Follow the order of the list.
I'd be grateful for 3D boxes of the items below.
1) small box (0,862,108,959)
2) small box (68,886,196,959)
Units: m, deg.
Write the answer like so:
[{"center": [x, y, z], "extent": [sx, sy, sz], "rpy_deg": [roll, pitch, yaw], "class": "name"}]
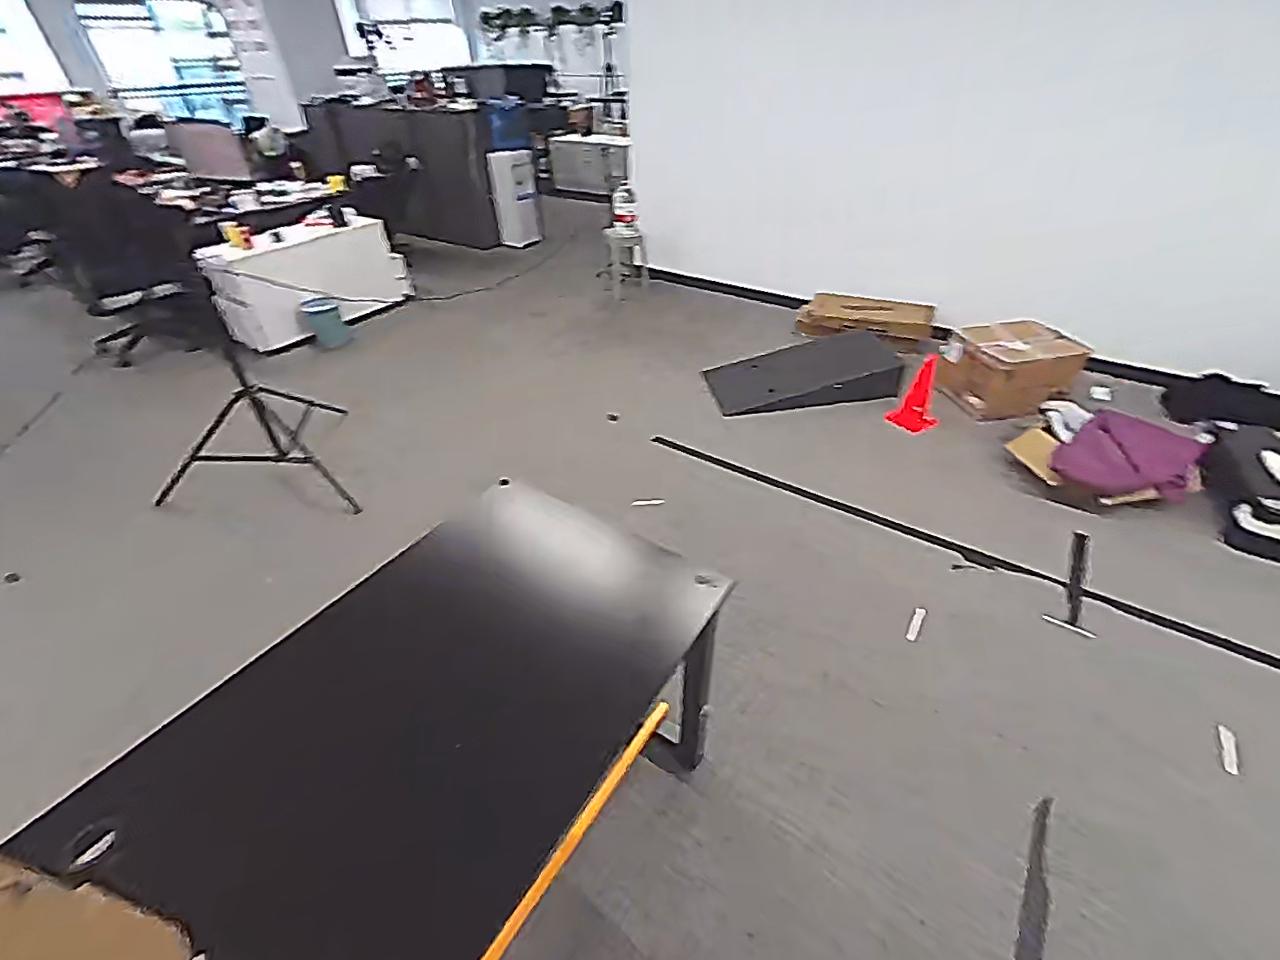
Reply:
[{"center": [-0.534, 0.411, 0.389], "extent": [0.179, 0.176, 0.168], "rpy_deg": [23, 46, 26], "class": "small box"}, {"center": [-0.531, 0.536, 0.493], "extent": [0.168, 0.176, 0.179], "rpy_deg": [23, 44, 27], "class": "small box"}]
